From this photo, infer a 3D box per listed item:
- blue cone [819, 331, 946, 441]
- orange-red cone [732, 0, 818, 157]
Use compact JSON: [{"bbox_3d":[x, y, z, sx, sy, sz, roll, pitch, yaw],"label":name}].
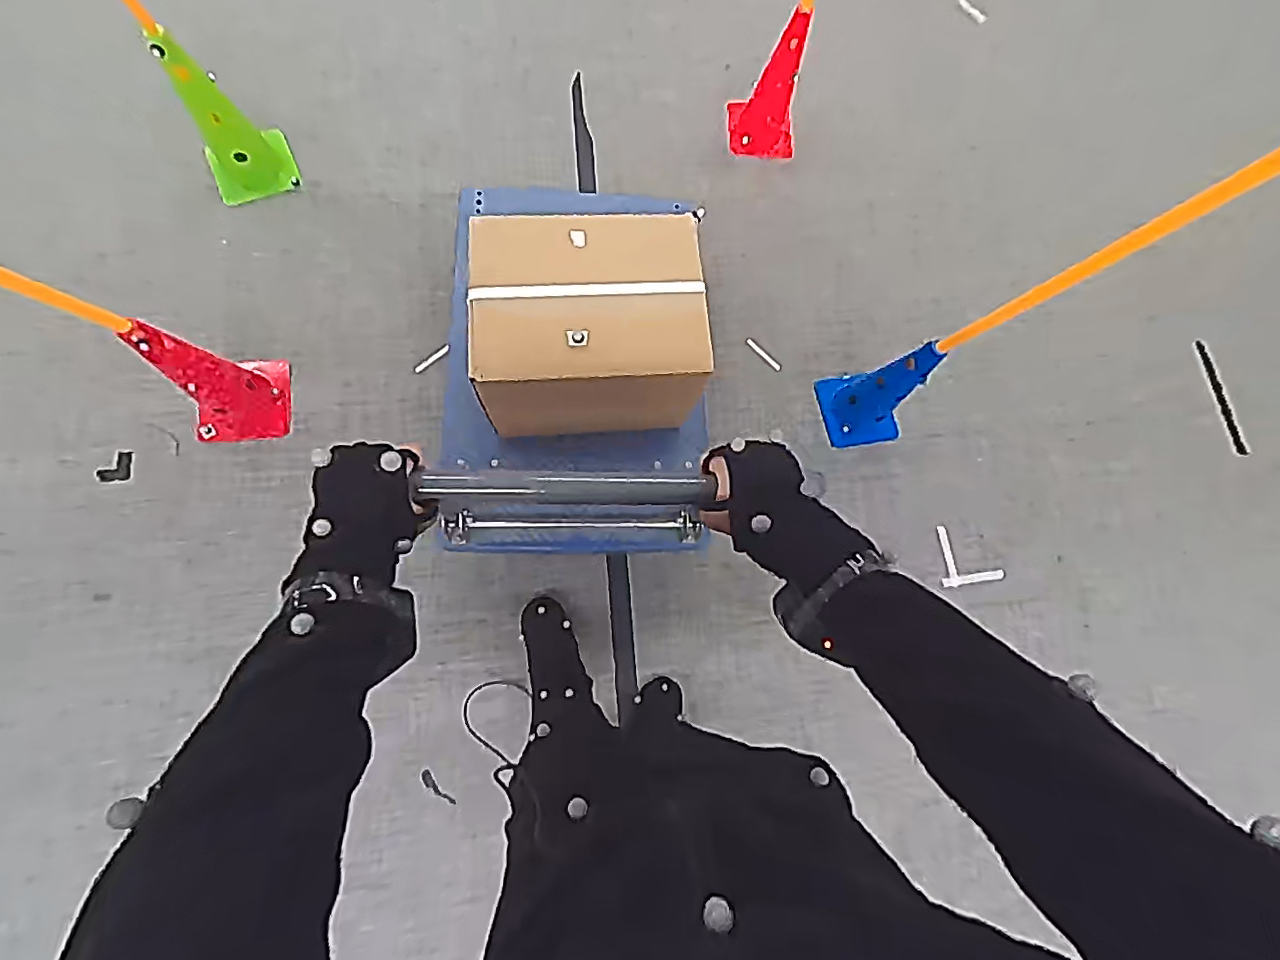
[{"bbox_3d":[0.610,-0.241,1.307,0.193,0.380,0.192,-8,77,-8],"label":"blue cone"},{"bbox_3d":[0.396,-1.110,1.474,0.199,0.360,0.198,2,77,-7],"label":"orange-red cone"}]
